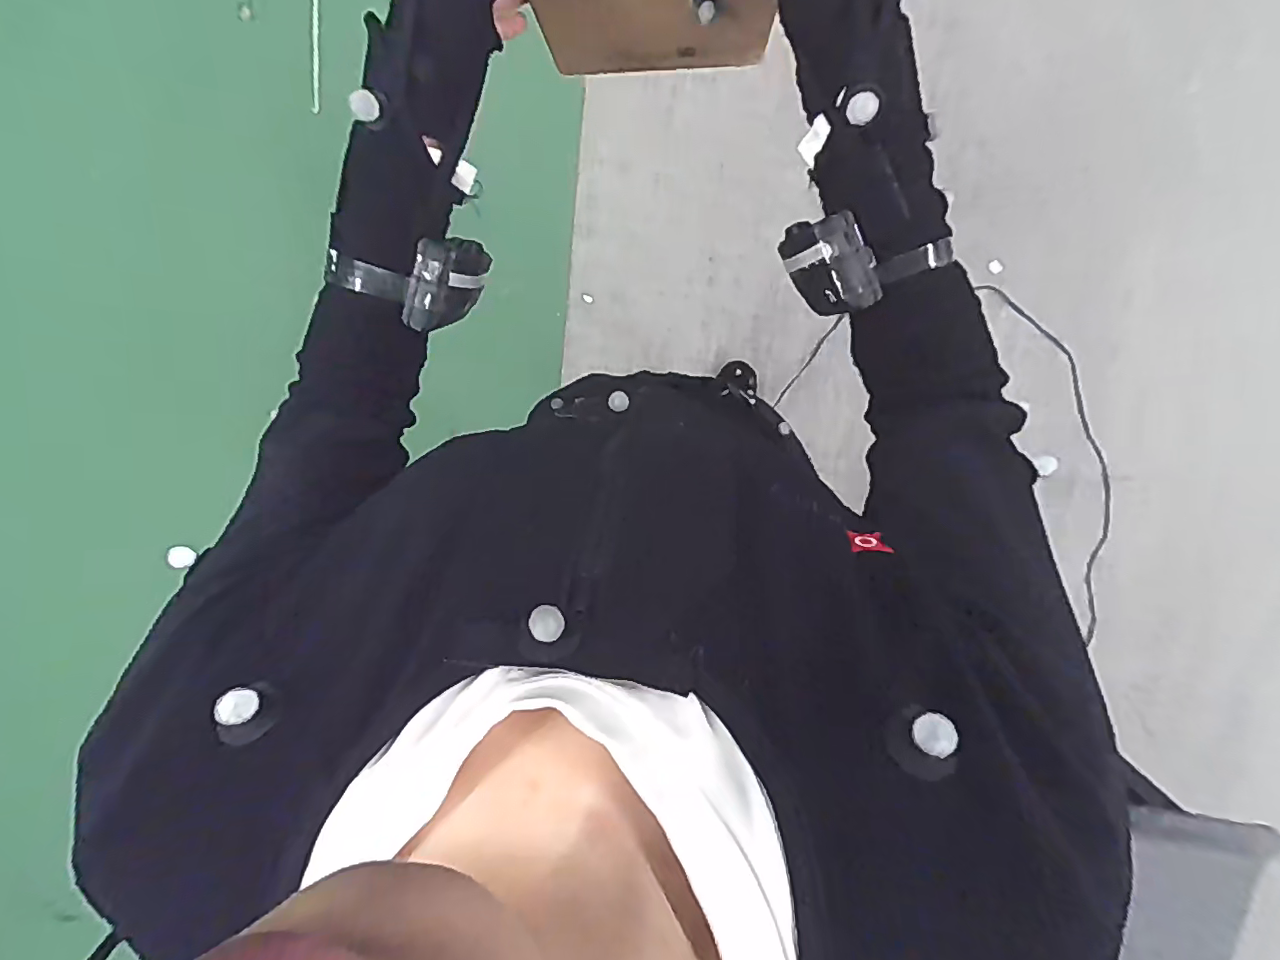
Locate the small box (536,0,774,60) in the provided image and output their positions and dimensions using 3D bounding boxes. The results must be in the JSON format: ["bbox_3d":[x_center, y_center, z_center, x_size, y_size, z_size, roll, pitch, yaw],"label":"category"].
[{"bbox_3d":[0.010,-0.400,0.340,0.168,0.176,0.179,1,101,4],"label":"small box"}]
